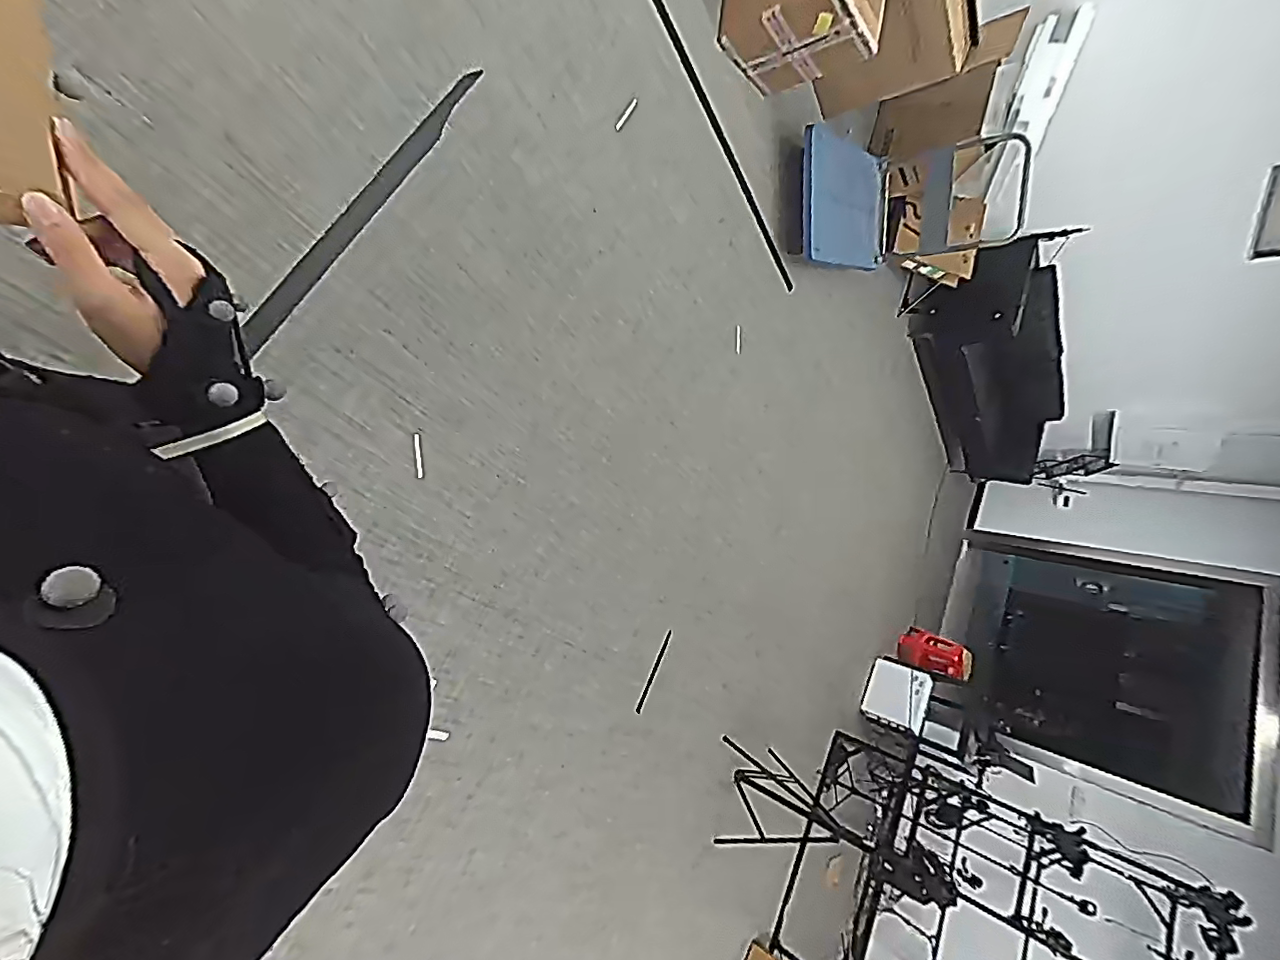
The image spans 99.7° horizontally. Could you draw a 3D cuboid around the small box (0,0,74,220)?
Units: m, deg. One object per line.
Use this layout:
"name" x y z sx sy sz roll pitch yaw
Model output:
"small box" -0.403 -0.230 0.250 0.179 0.176 0.168 -11 122 -42
